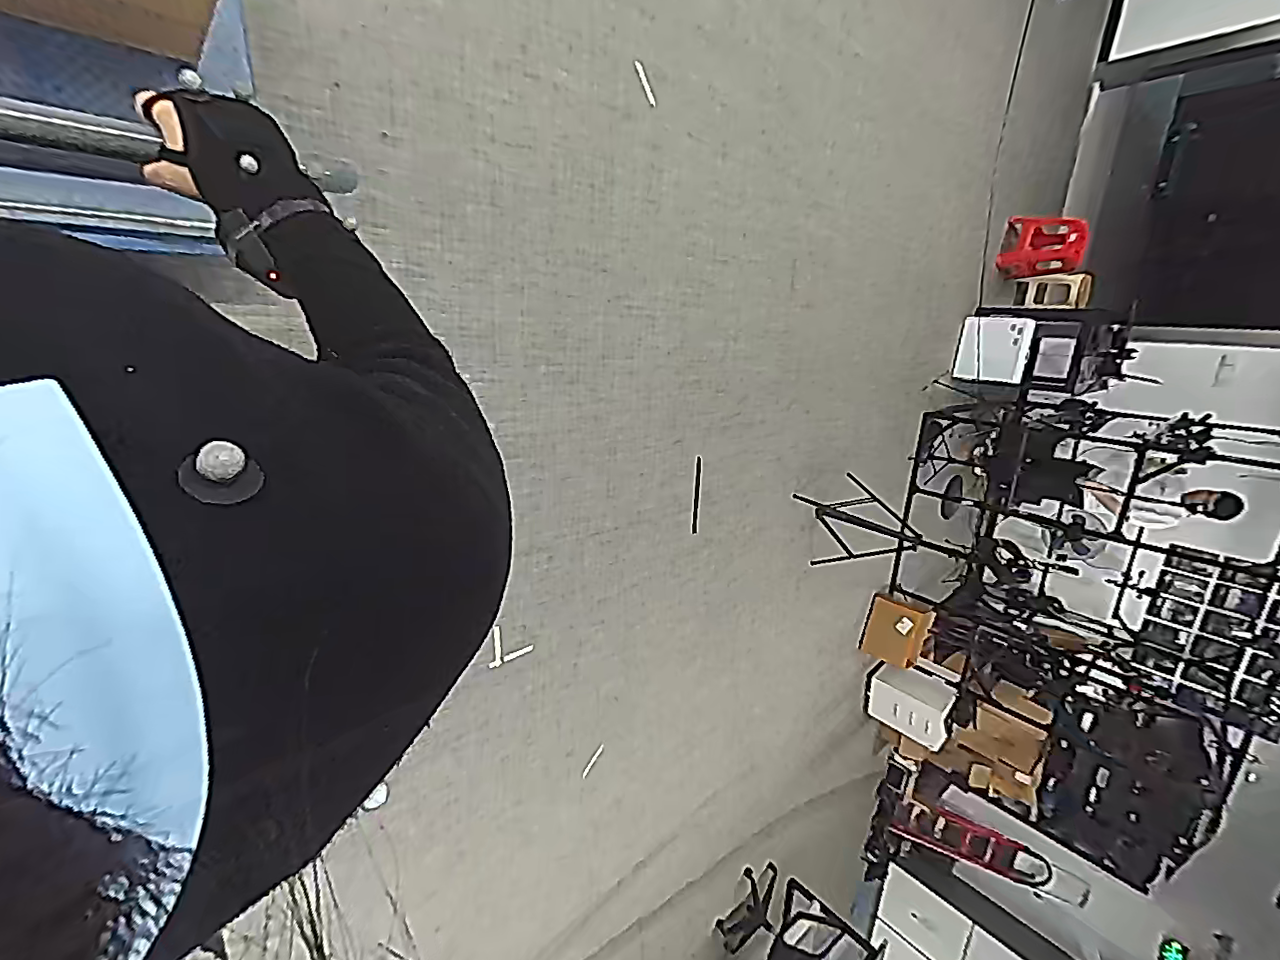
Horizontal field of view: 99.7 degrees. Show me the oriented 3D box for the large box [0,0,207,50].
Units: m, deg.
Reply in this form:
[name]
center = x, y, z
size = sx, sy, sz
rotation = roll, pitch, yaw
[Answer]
[large box]
center = -0.818, -0.809, 0.659
size = 0.408, 0.320, 0.320
rotation = -12, 112, -40
